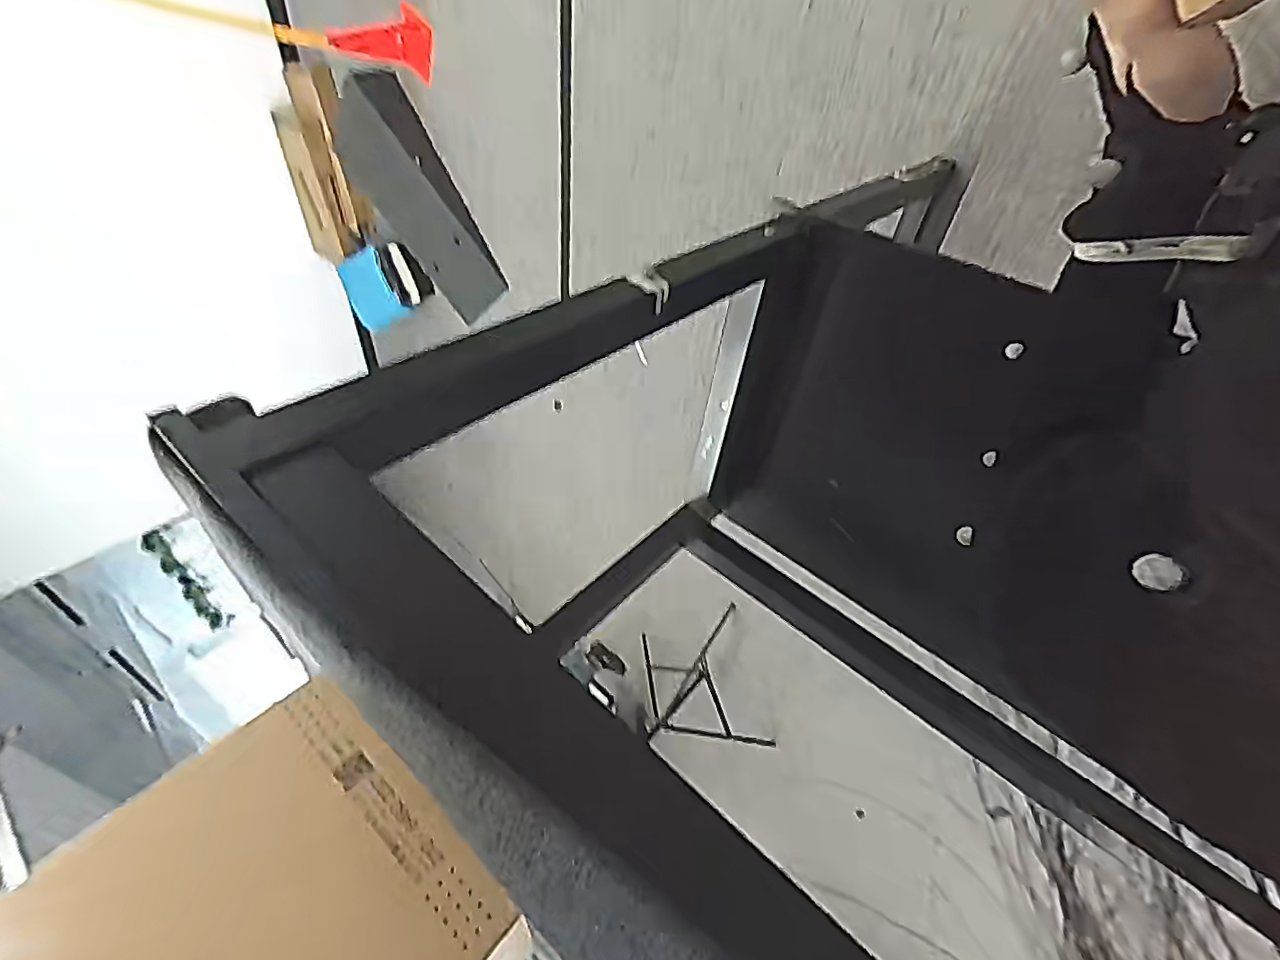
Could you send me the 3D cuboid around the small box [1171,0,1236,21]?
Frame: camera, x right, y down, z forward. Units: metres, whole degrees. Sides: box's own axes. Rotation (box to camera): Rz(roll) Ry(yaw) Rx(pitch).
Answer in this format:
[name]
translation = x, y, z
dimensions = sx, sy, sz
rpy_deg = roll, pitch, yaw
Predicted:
[small box]
translation = 0.286, -0.314, 0.187
dimensions = 0.168, 0.176, 0.179
rpy_deg = -16, 105, 56
